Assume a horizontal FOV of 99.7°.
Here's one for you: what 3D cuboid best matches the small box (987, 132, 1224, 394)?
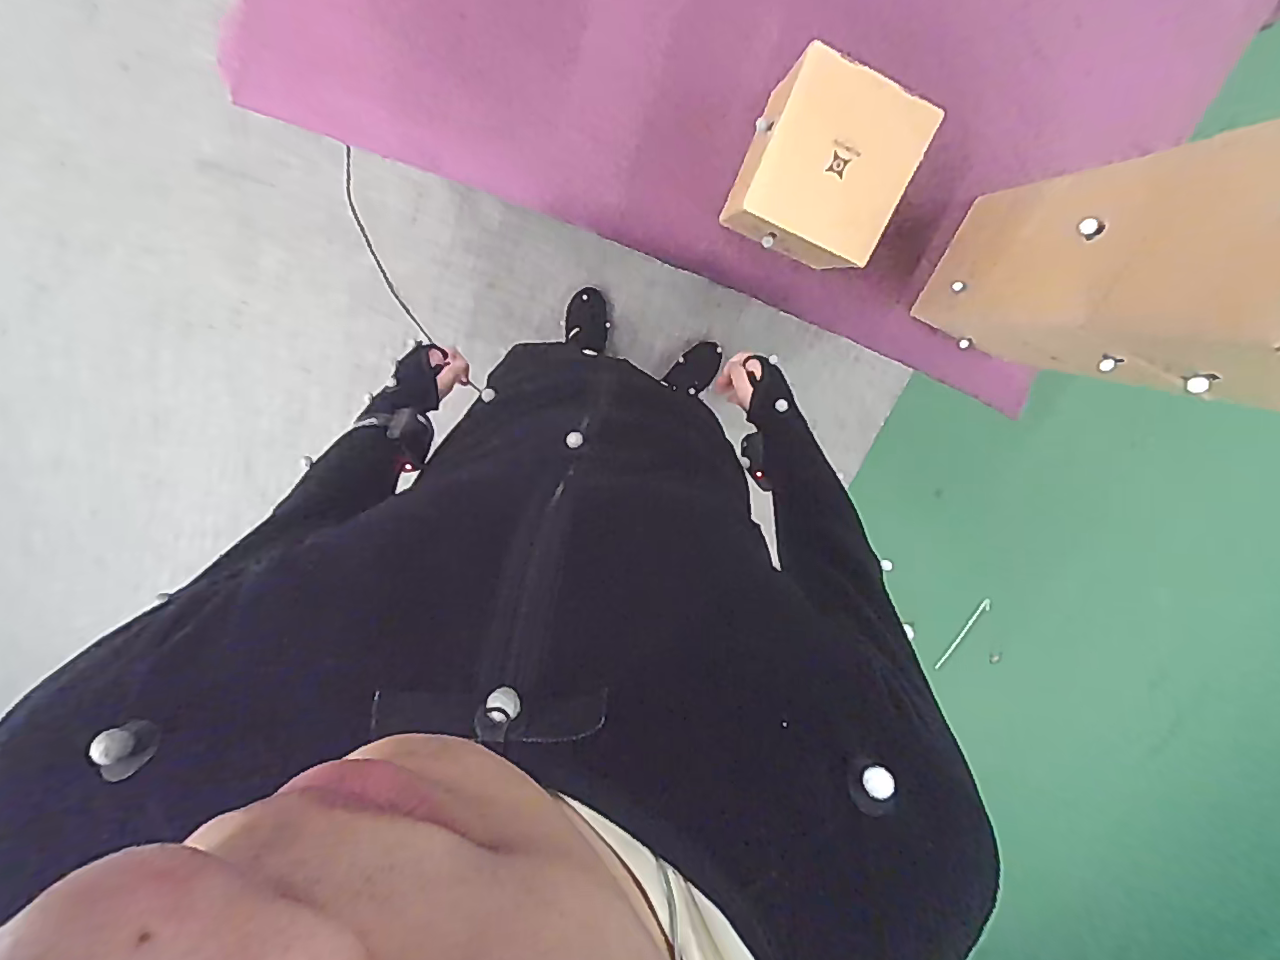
[{"bbox_3d":[0.516,-0.215,0.565,0.168,0.176,0.179,23,108,-8],"label":"small box"}]

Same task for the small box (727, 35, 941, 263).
[{"bbox_3d":[0.220,-0.387,0.674,0.168,0.176,0.179,21,108,-8],"label":"small box"}]
